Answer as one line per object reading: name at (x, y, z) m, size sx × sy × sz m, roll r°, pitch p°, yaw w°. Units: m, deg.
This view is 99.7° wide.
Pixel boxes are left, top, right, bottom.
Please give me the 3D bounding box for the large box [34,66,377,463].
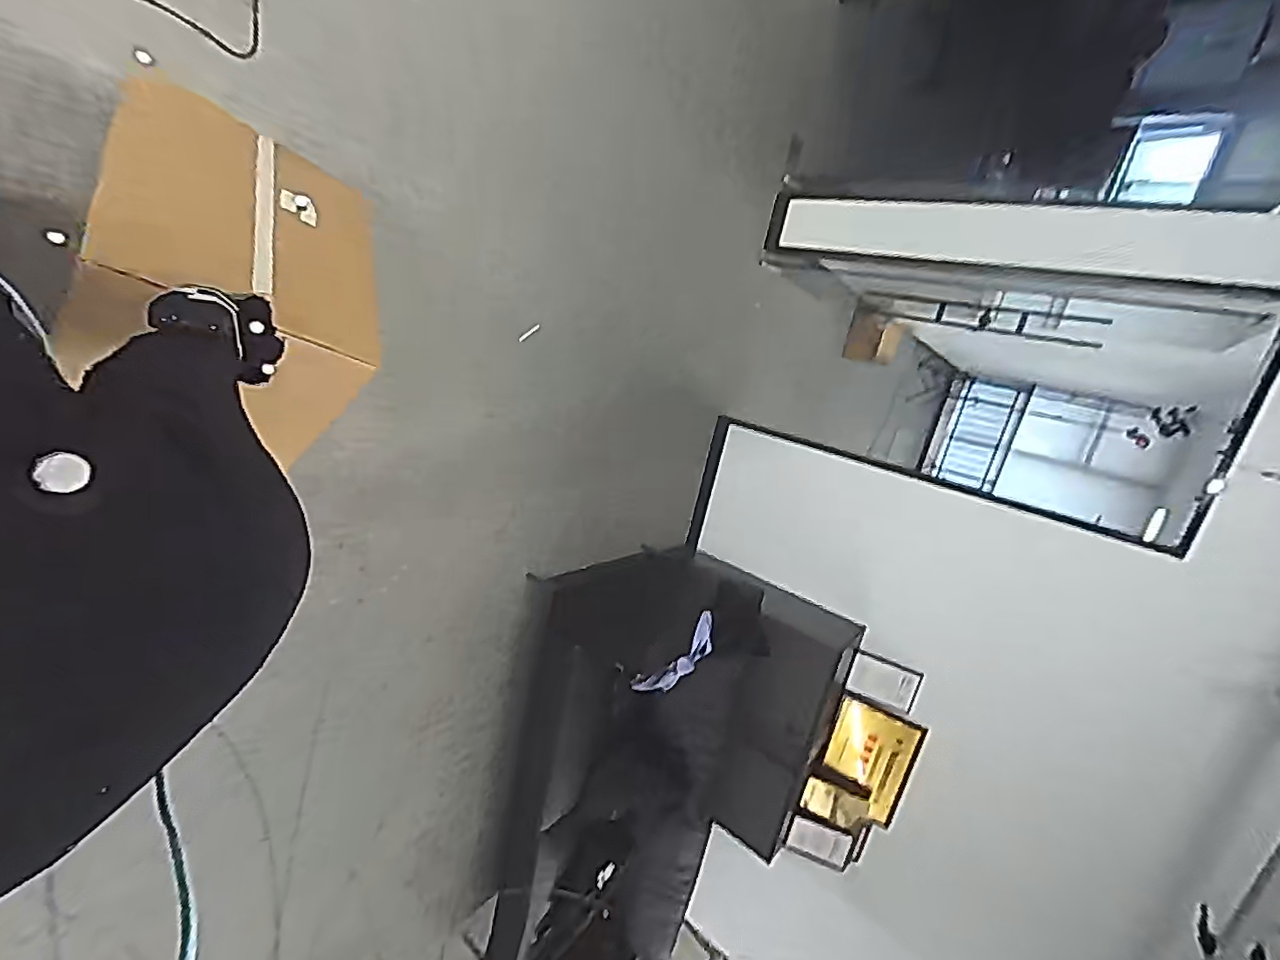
large box at (-0.648, -0.289, 0.827) m, size 0.320 × 0.408 × 0.320 m, roll -34°, pitch 151°, yaw 26°
